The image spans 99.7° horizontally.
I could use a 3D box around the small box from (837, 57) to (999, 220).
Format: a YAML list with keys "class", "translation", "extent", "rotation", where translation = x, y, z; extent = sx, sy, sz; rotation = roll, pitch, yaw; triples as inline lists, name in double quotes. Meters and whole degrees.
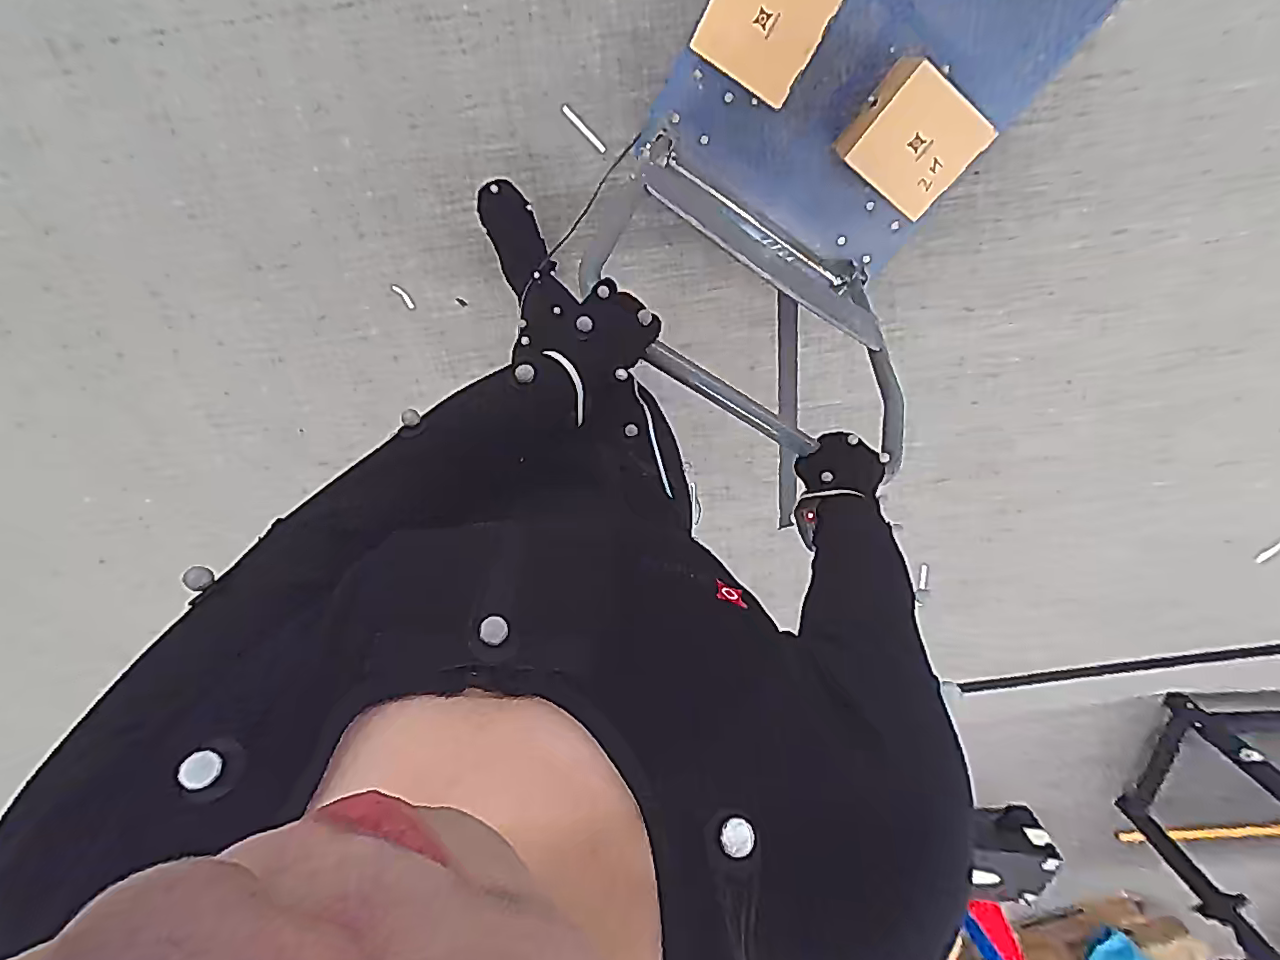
- class: "small box"
  translation: [0.473, -0.598, 0.950]
  extent: [0.179, 0.176, 0.168]
  rotation: [32, 127, -15]

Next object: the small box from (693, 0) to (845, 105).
- class: "small box"
  translation: [0.203, -0.749, 0.879]
  extent: [0.179, 0.176, 0.168]
  rotation: [26, 128, -13]
